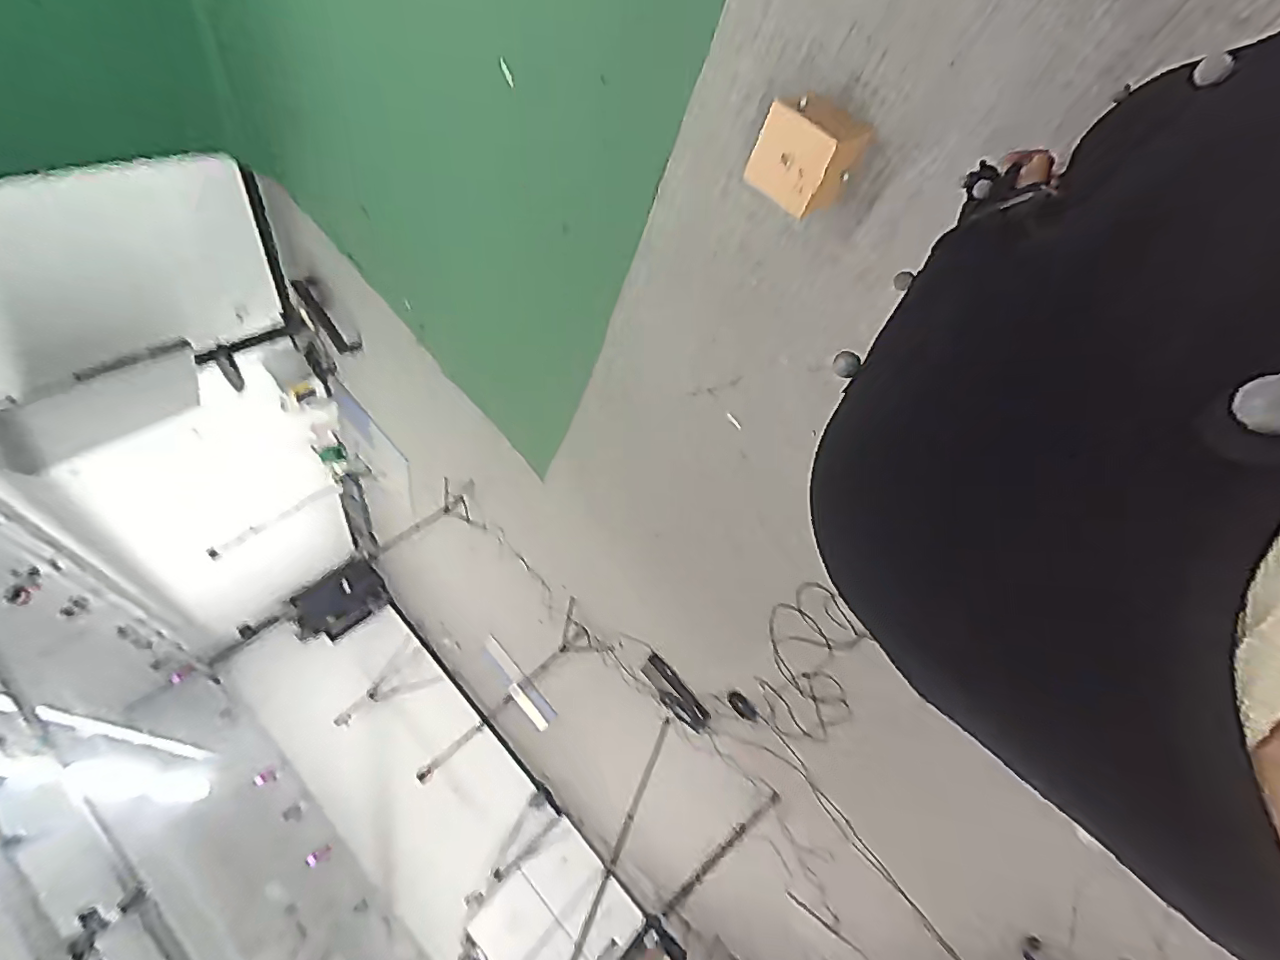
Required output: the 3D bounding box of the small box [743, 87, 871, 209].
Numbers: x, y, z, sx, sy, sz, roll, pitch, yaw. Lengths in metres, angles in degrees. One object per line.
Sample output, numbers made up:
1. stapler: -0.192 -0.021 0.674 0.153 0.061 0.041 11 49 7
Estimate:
1. small box: 0.369 -0.740 1.199 0.179 0.176 0.168 44 146 13
